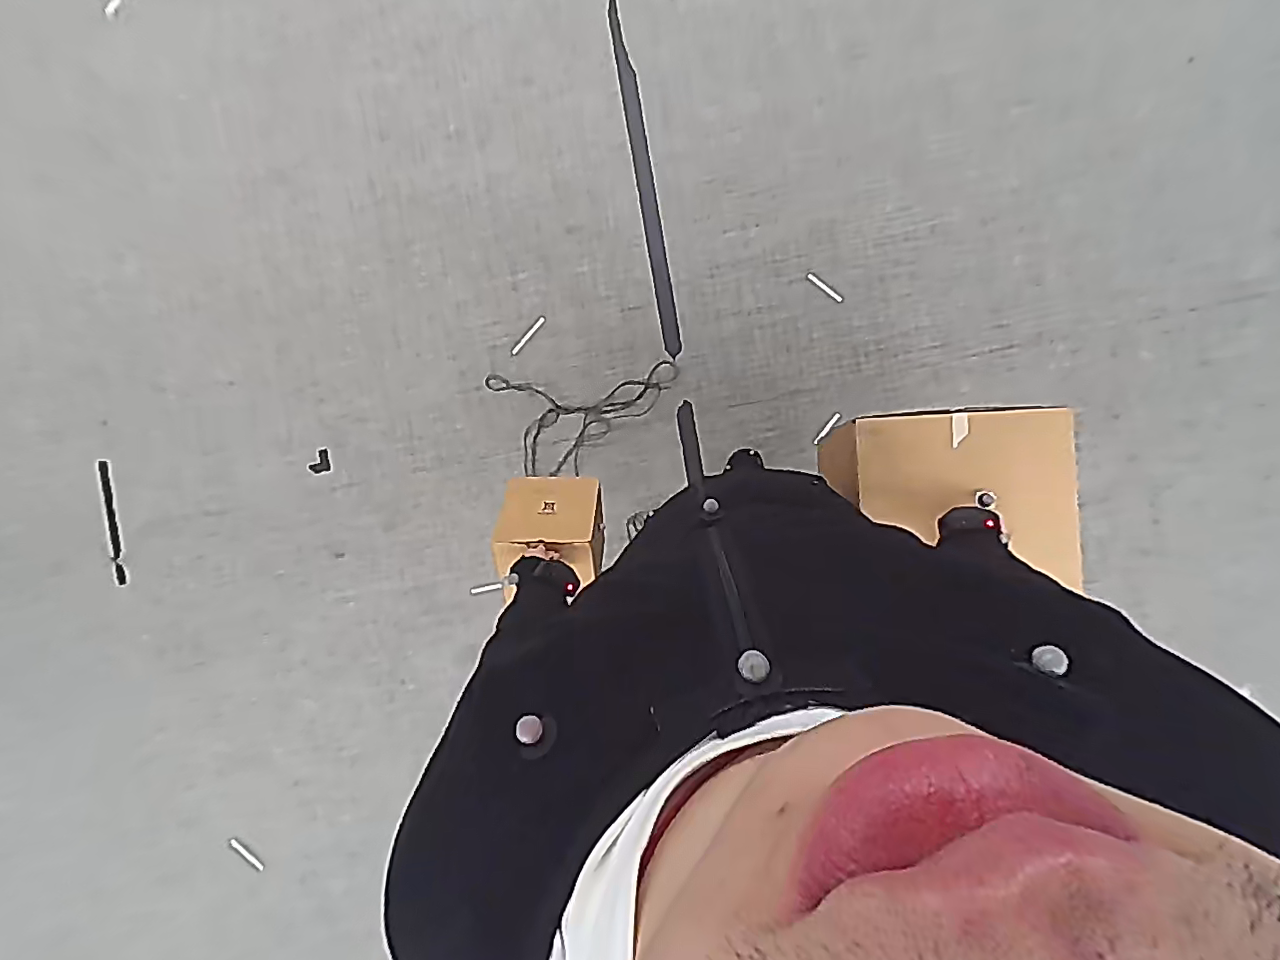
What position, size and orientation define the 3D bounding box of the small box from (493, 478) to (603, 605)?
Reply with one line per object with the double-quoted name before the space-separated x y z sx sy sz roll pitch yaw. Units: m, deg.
"small box" -0.159 0.115 0.997 0.168 0.179 0.176 0 127 1
